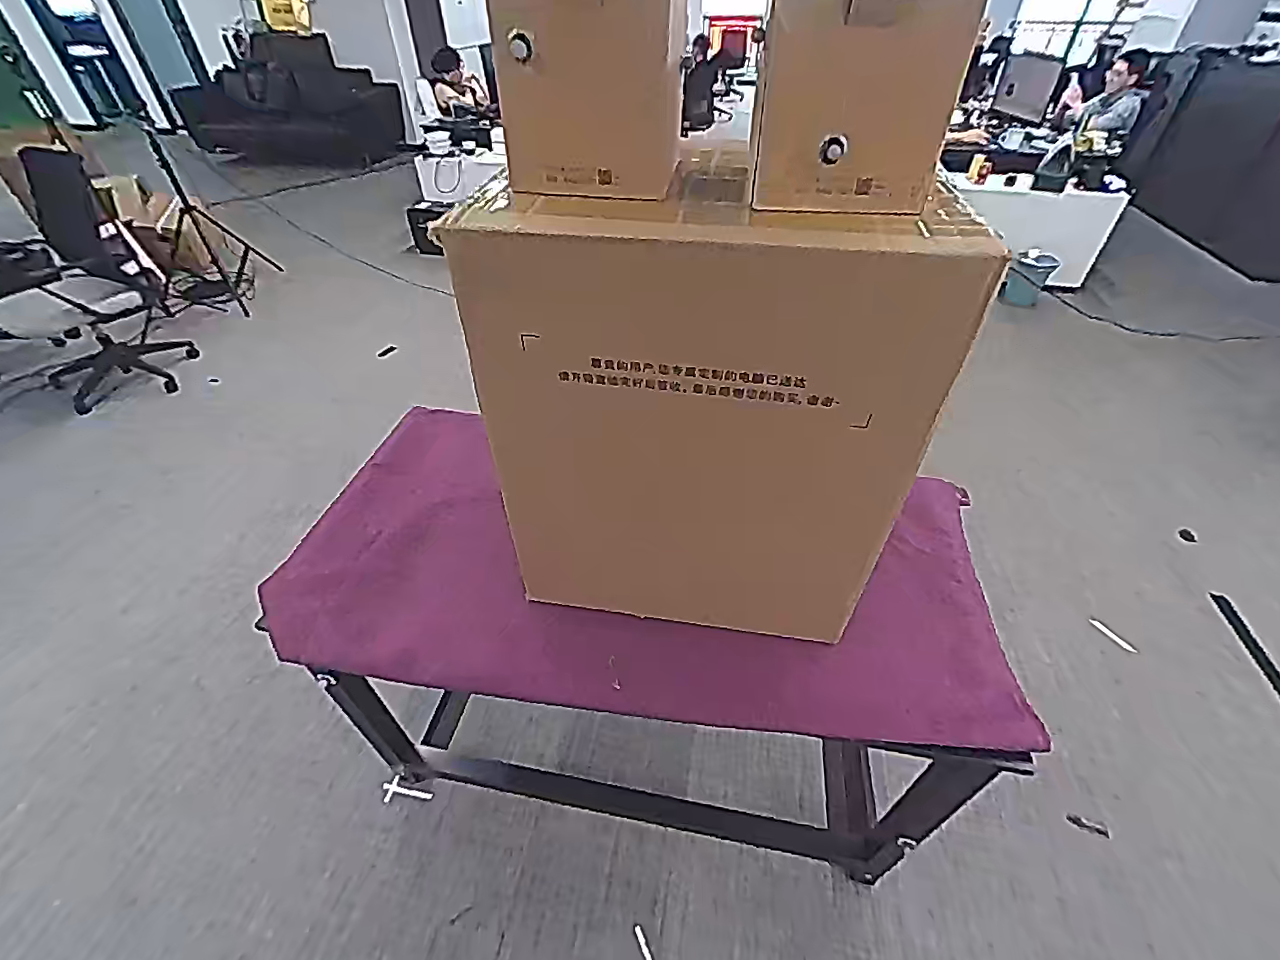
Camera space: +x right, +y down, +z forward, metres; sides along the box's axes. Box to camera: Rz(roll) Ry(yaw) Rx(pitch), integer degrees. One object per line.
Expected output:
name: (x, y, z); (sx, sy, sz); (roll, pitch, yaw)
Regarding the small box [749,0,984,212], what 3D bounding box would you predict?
small box: (0.201, -0.385, 0.540); (0.168, 0.176, 0.179); (4, 43, 6)
